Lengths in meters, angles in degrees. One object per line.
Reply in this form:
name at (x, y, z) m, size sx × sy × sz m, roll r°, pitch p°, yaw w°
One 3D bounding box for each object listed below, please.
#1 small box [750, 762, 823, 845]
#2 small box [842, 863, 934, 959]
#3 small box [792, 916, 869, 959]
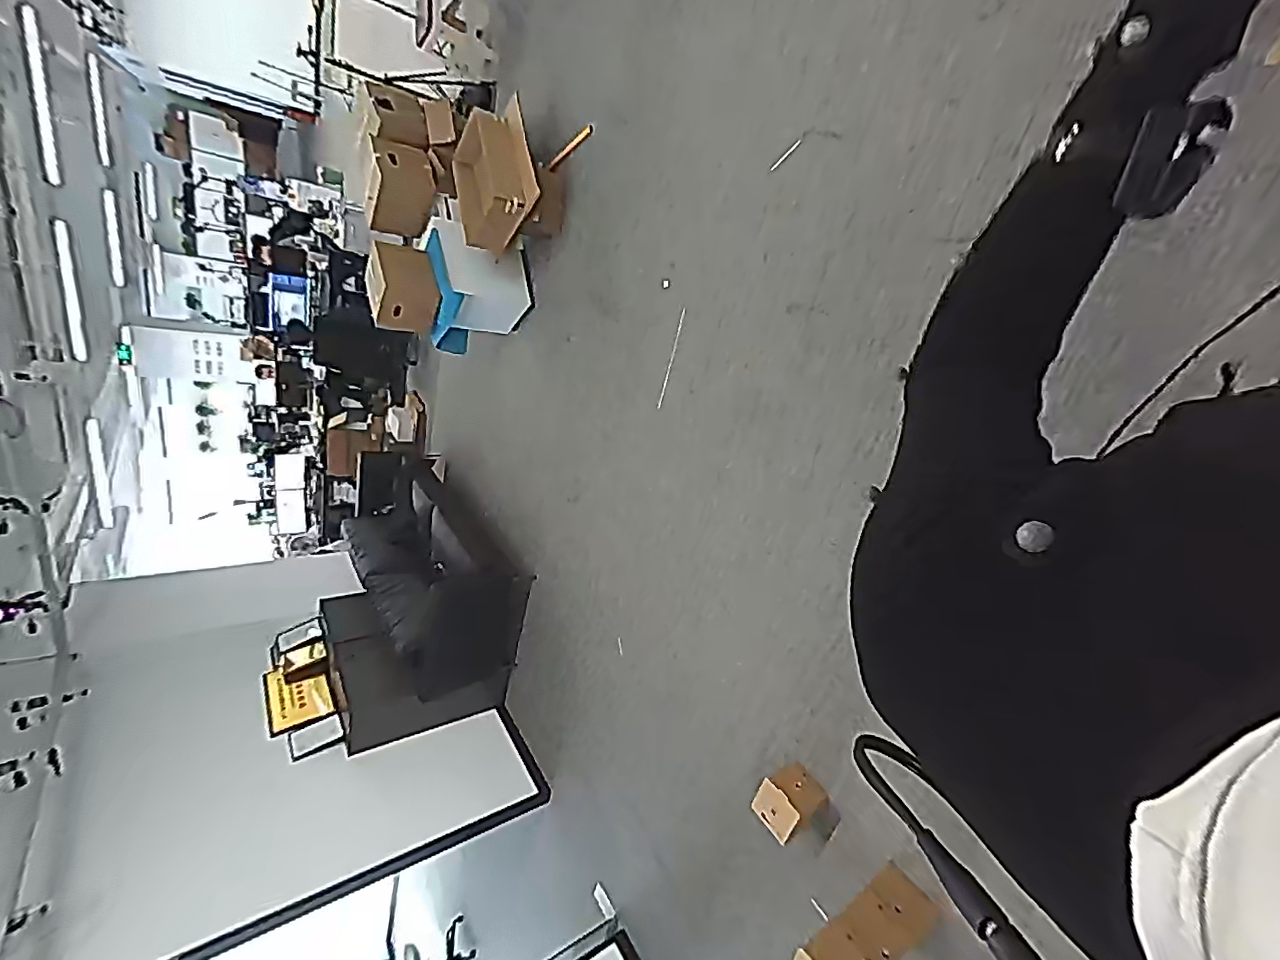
small box at (0.543, 1.180, 1.984) m, size 0.168 × 0.176 × 0.179 m, roll 41°, pitch 123°, yaw 44°
small box at (0.778, 1.360, 1.691) m, size 0.179 × 0.176 × 0.168 m, roll 39°, pitch 122°, yaw 44°
small box at (0.522, 1.363, 1.485) m, size 0.168 × 0.176 × 0.179 m, roll 37°, pitch 121°, yaw 45°
